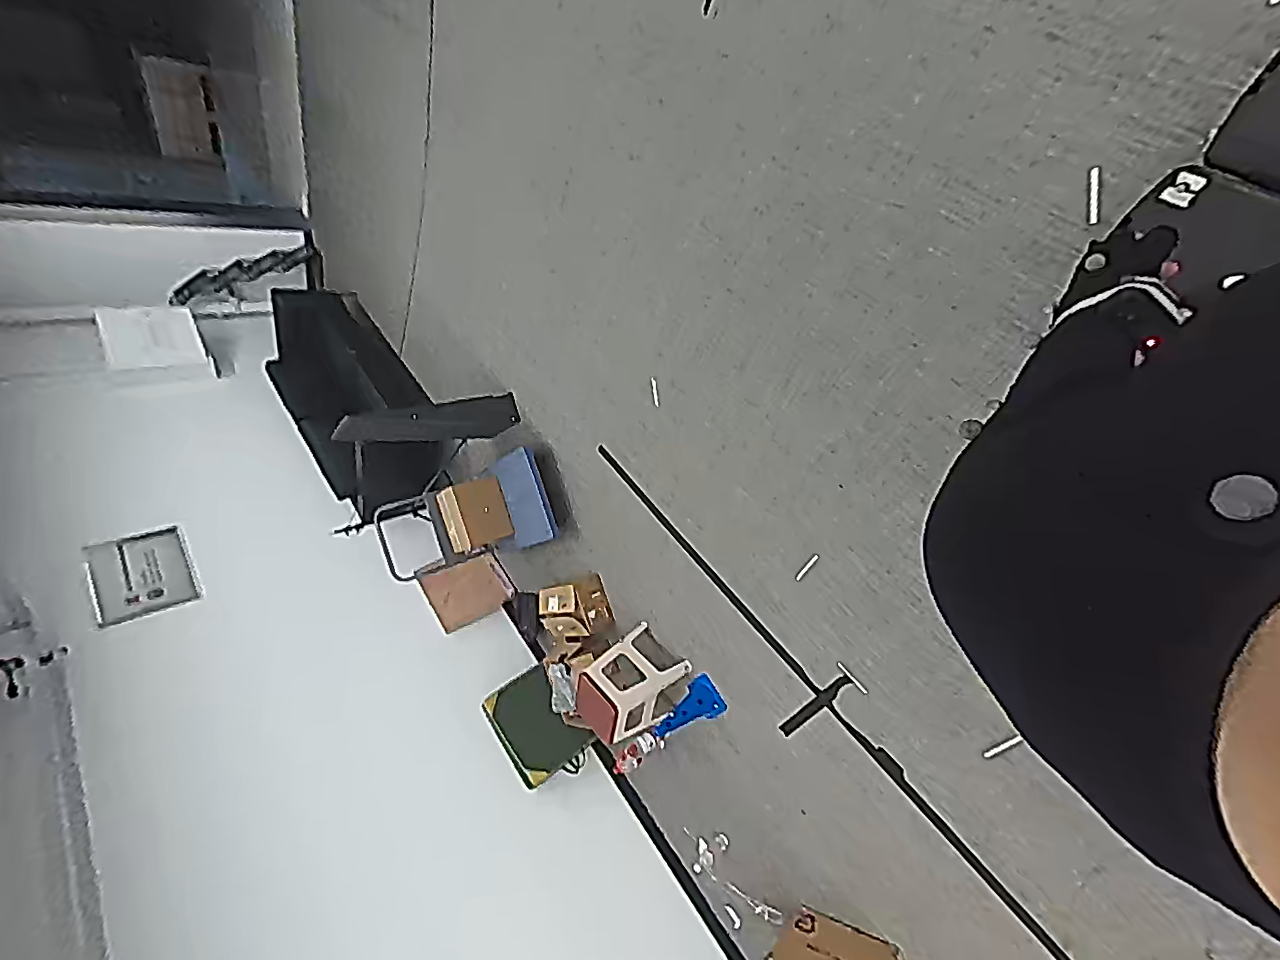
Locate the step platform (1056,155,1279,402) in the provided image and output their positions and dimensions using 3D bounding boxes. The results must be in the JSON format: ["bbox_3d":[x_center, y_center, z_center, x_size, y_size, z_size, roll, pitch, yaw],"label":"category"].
[{"bbox_3d":[1.197,-0.341,1.012,0.684,0.204,0.286,47,135,28],"label":"step platform"}]
